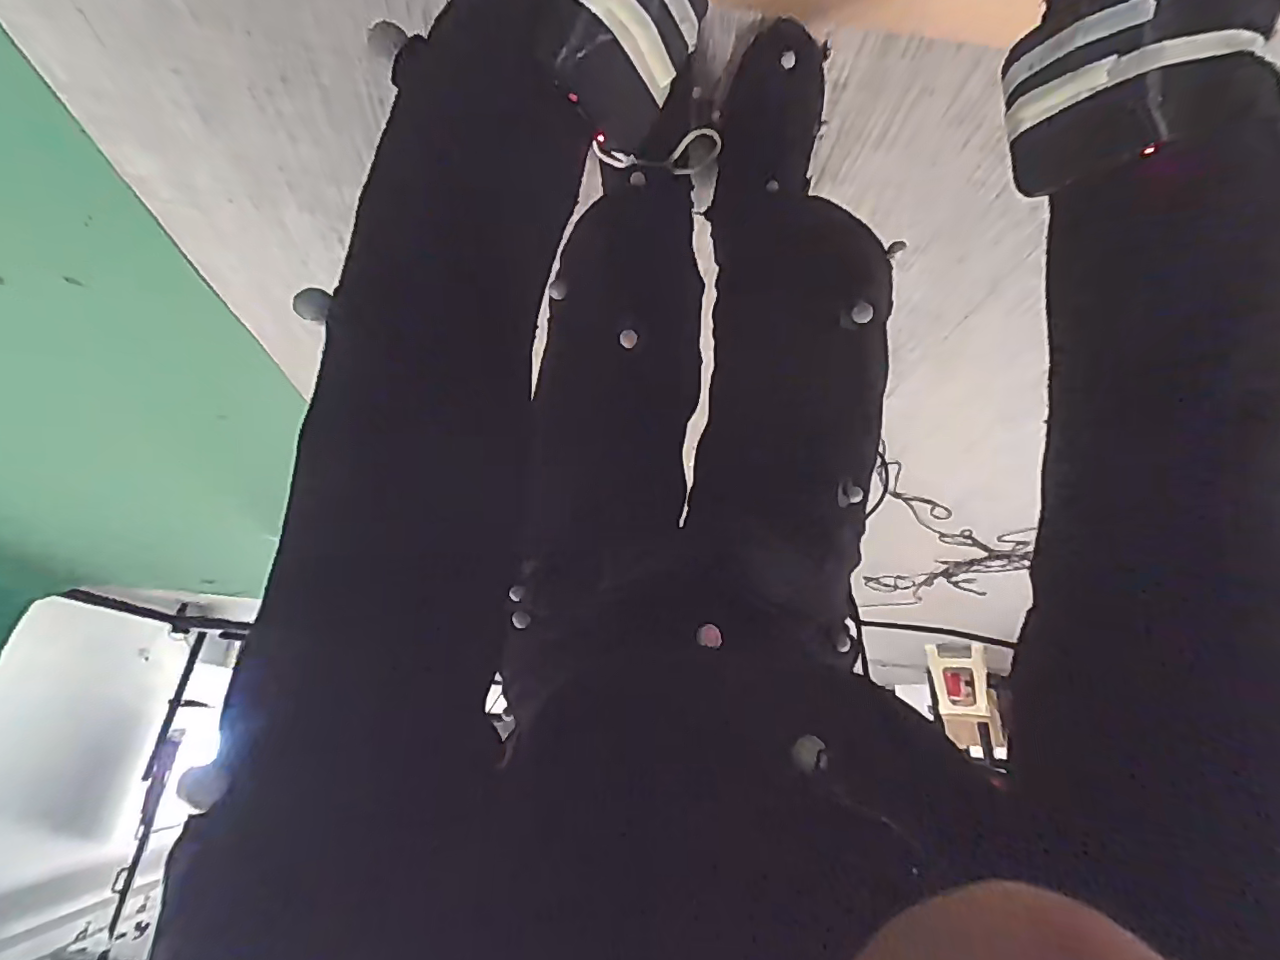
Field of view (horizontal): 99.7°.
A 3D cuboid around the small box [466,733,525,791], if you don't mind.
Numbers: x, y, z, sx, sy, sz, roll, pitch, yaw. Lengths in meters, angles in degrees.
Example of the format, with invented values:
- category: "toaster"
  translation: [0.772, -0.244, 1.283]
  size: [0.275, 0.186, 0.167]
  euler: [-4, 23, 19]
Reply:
- category: "small box"
  translation: [-0.495, 0.969, 1.868]
  size: [0.168, 0.176, 0.179]
  euler: [7, 155, -6]
